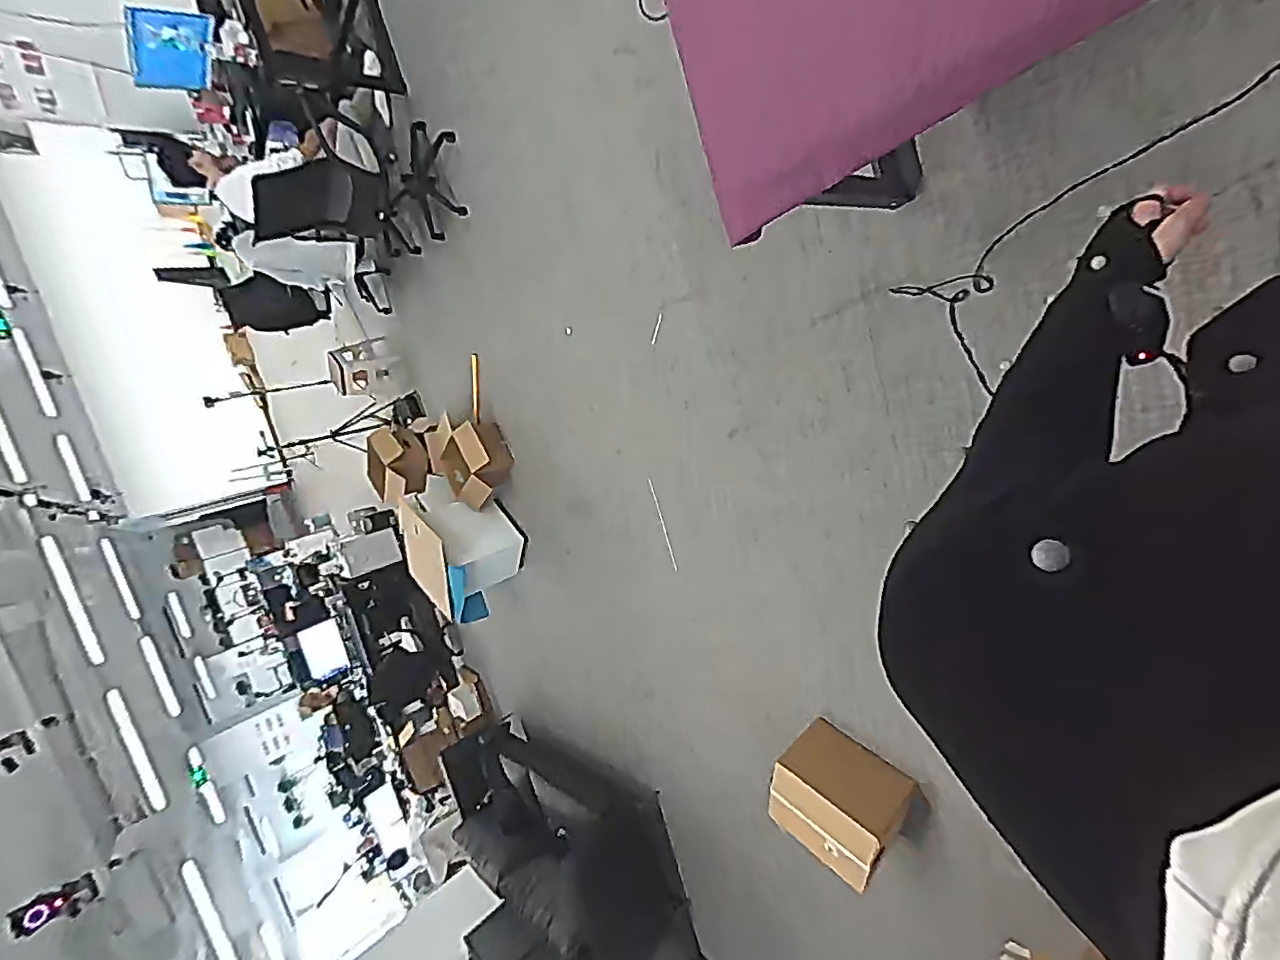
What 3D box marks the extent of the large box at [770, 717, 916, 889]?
[{"bbox_3d":[0.762,1.204,2.060,0.408,0.320,0.320,23,124,40],"label":"large box"}]
